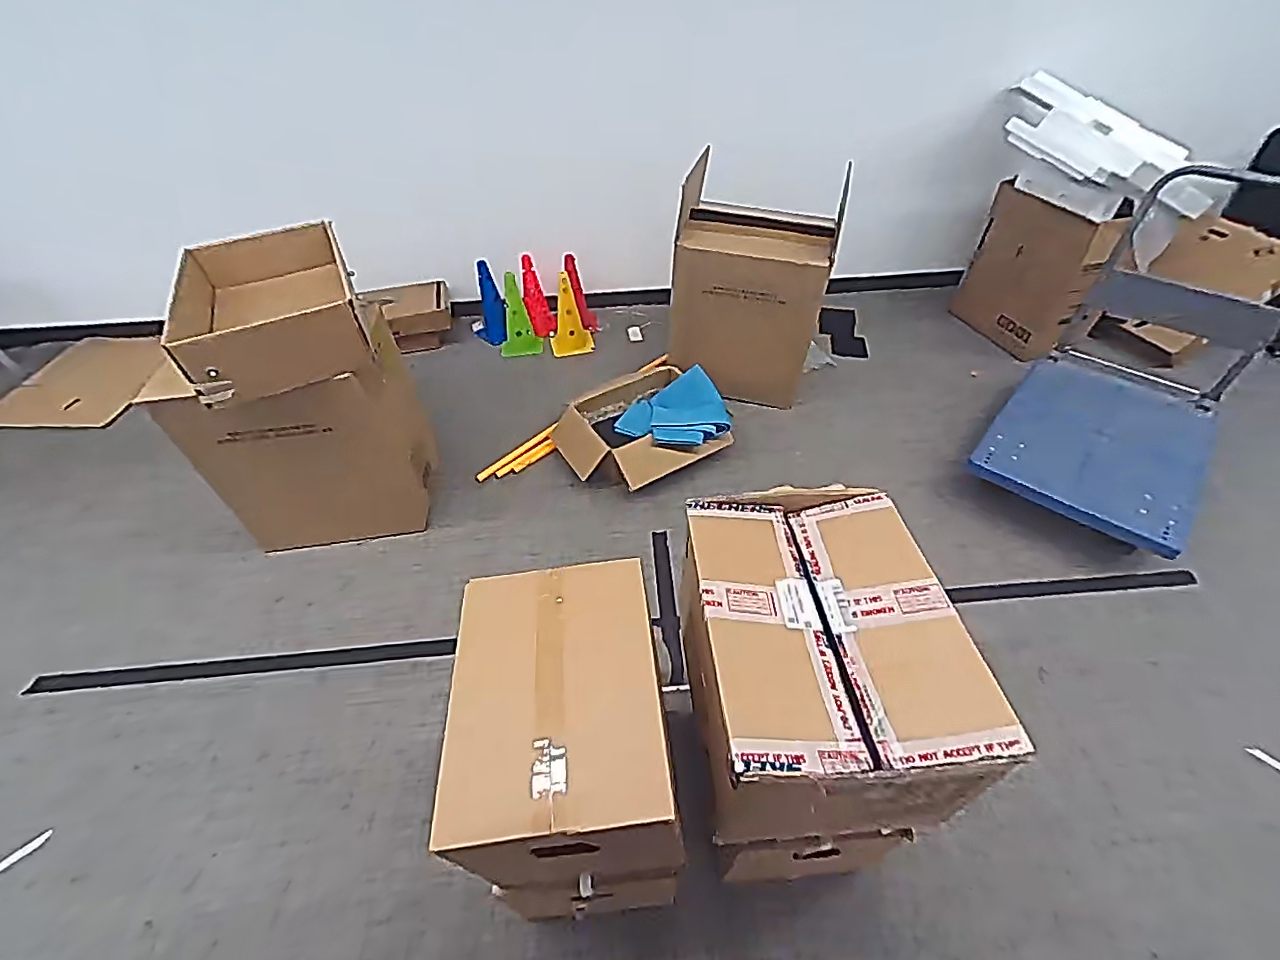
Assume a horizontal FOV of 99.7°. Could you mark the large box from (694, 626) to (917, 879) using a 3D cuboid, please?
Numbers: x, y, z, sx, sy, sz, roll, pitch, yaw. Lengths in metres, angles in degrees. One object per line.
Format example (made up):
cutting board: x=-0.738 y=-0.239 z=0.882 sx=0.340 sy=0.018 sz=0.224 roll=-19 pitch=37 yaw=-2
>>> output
large box: x=0.311 y=0.582 z=1.172 sx=0.320 sy=0.320 sz=0.408 roll=-5 pitch=46 yaw=-3
